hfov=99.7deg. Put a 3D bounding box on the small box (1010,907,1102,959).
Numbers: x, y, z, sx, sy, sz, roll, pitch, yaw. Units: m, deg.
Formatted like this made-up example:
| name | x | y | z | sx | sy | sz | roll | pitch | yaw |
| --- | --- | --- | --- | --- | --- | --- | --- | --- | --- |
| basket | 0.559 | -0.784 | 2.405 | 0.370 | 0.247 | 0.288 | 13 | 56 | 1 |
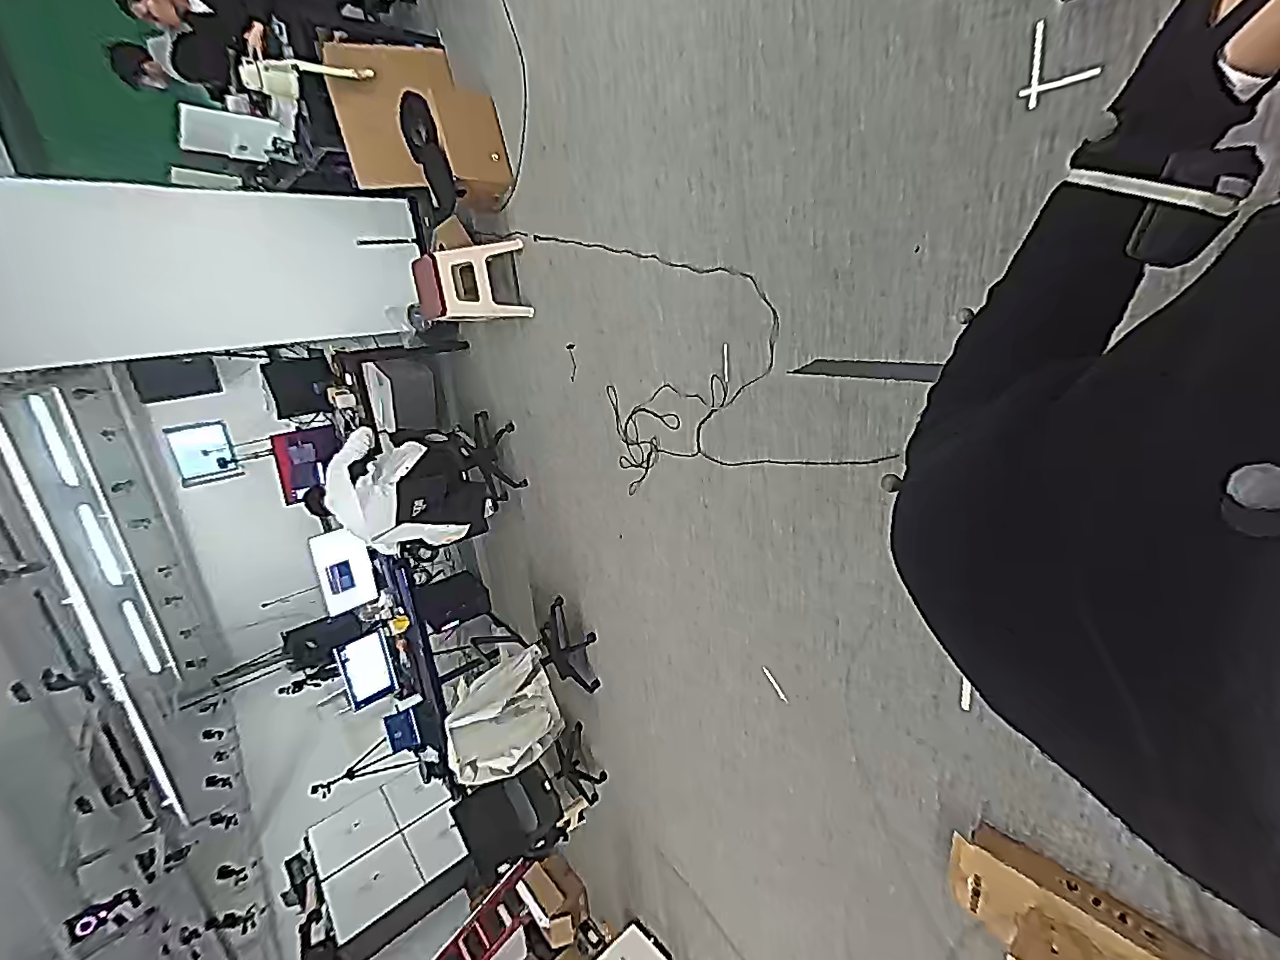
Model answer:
| name | x | y | z | sx | sy | sz | roll | pitch | yaw |
| --- | --- | --- | --- | --- | --- | --- | --- | --- | --- |
| small box | 1.111 | 1.316 | 1.451 | 0.168 | 0.176 | 0.179 | 13 | 116 | 49 |
